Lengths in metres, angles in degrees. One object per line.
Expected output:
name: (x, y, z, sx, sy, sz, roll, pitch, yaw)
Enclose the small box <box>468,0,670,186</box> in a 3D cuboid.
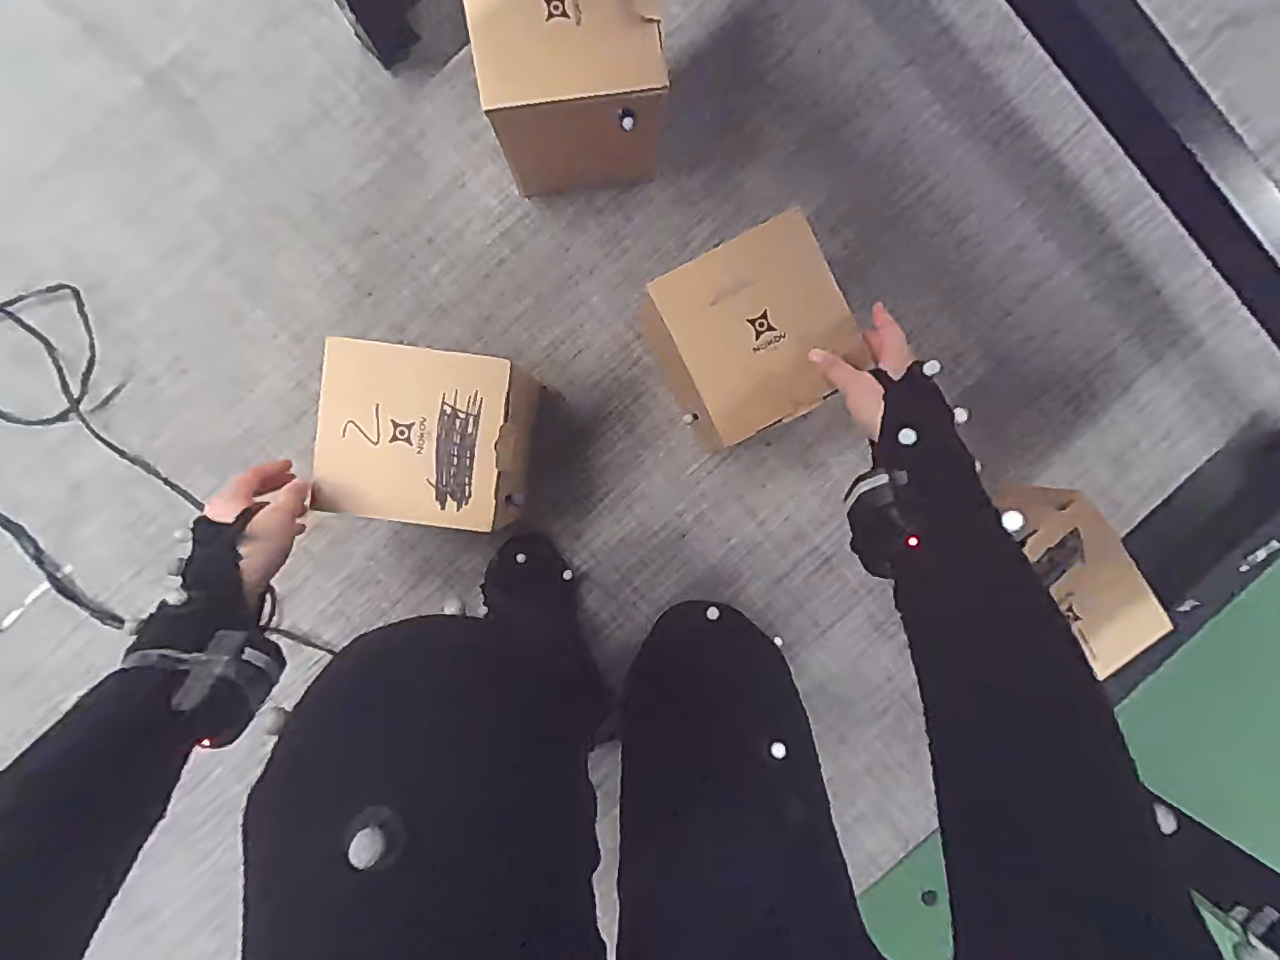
small box: (-0.070, -0.436, 0.568, 0.179, 0.176, 0.168, -9, 93, -2)
